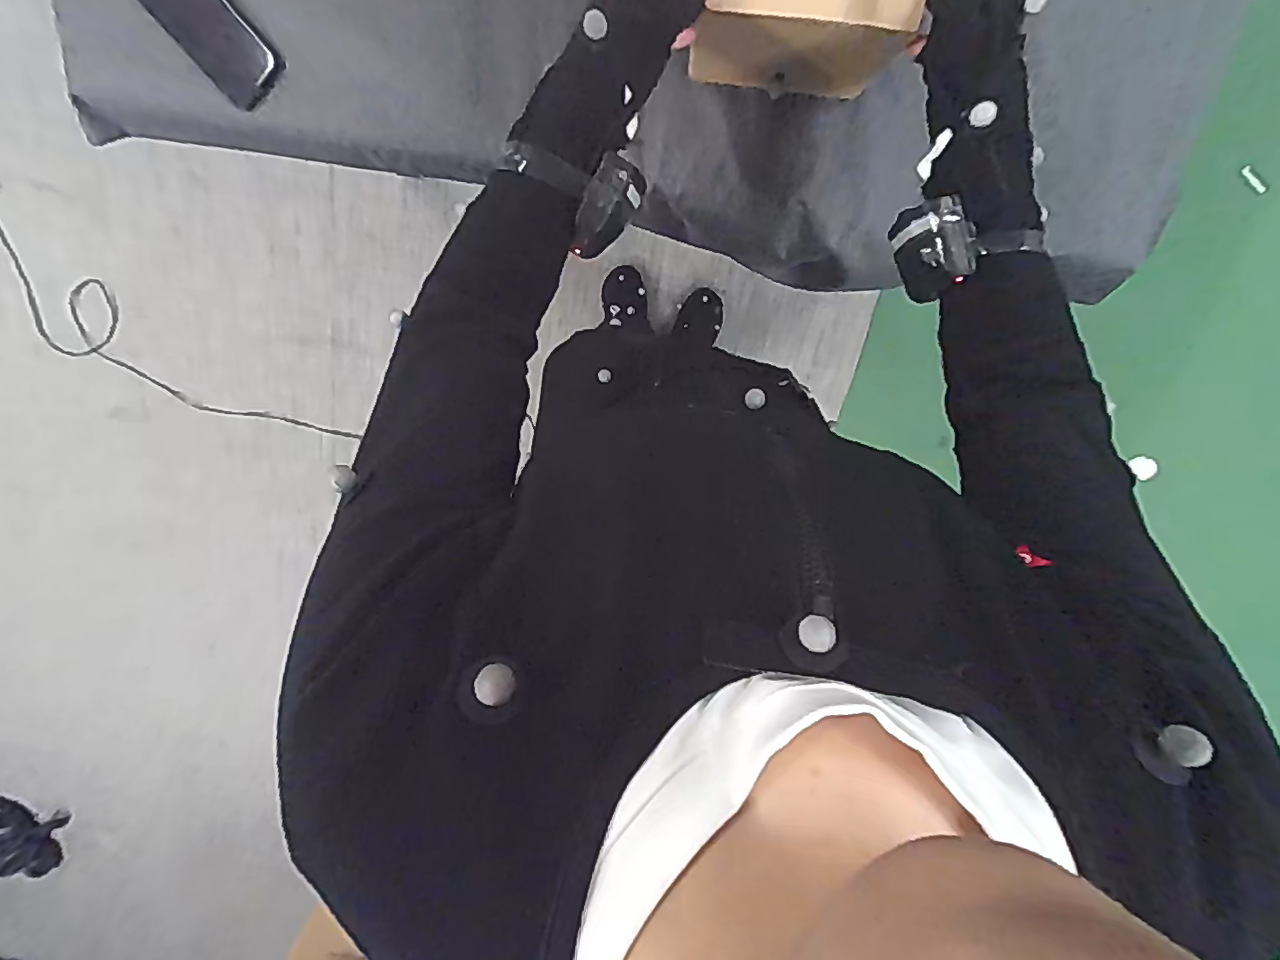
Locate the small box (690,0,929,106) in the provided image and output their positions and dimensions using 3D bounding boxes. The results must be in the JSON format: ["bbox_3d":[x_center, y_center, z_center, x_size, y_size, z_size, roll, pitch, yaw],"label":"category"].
[{"bbox_3d":[0.142,-0.446,0.464,0.179,0.176,0.168,8,110,1],"label":"small box"}]
